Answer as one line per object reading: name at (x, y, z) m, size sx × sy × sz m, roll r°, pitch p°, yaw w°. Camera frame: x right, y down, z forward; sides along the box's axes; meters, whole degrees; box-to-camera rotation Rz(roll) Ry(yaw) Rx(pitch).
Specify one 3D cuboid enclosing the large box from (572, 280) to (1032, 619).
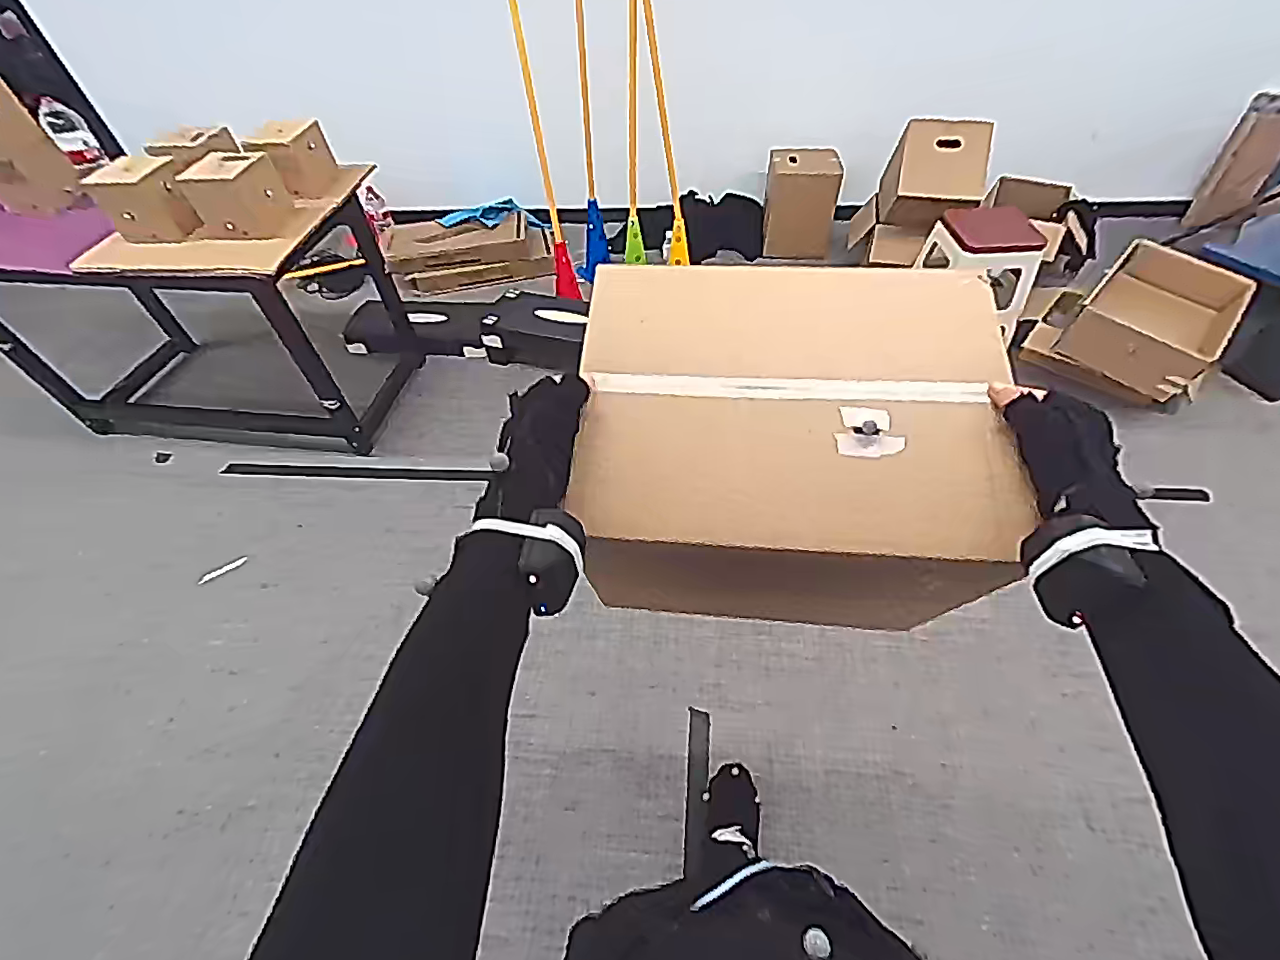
large box at (0.152, -0.019, 0.667) m, size 0.408 × 0.320 × 0.320 m, roll 3°, pitch 66°, yaw 5°
